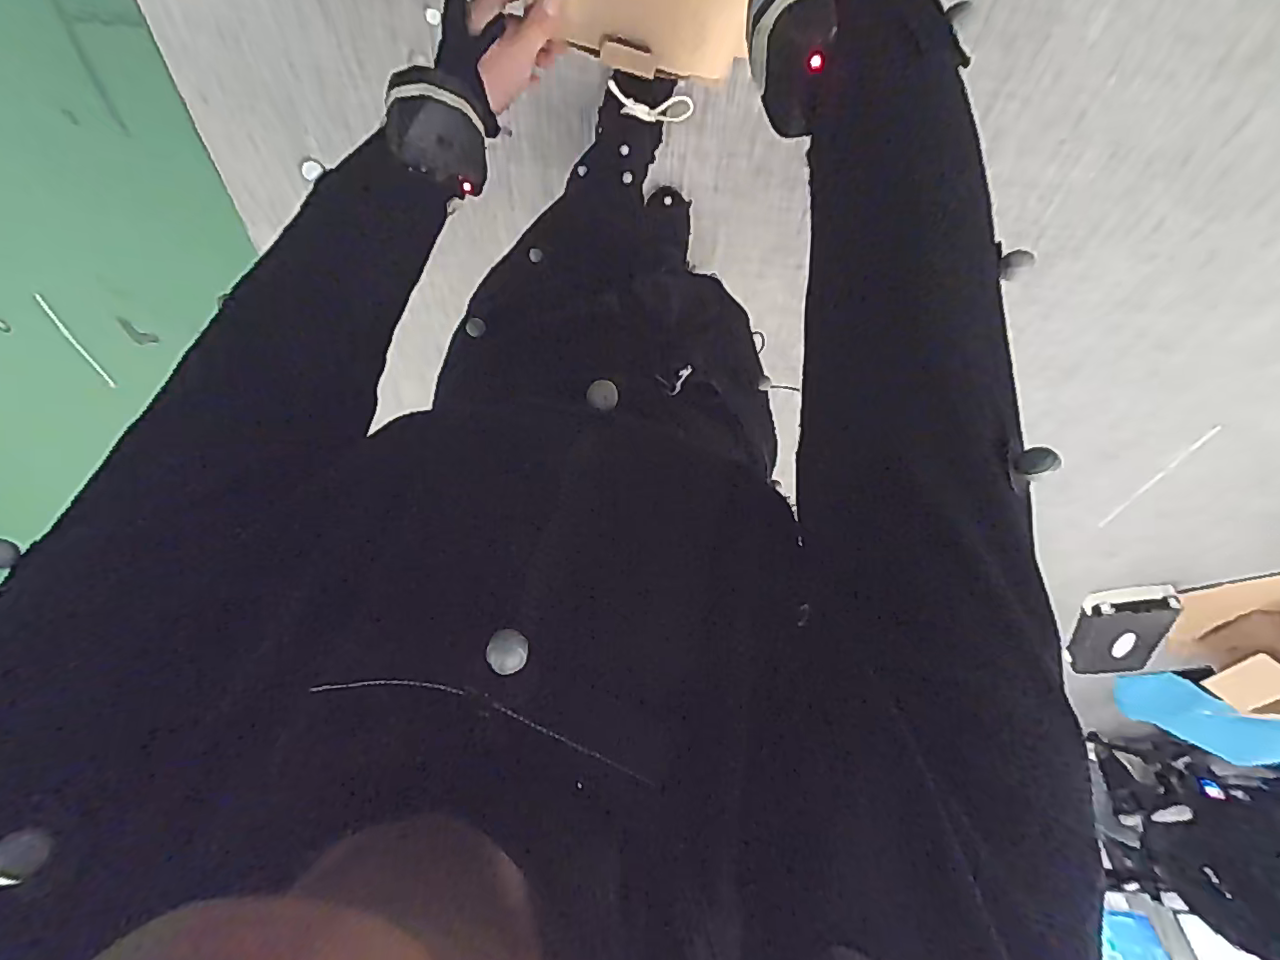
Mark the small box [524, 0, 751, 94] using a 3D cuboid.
[{"bbox_3d":[0.010,-0.442,0.416,0.168,0.176,0.179,8,139,-10],"label":"small box"}]
